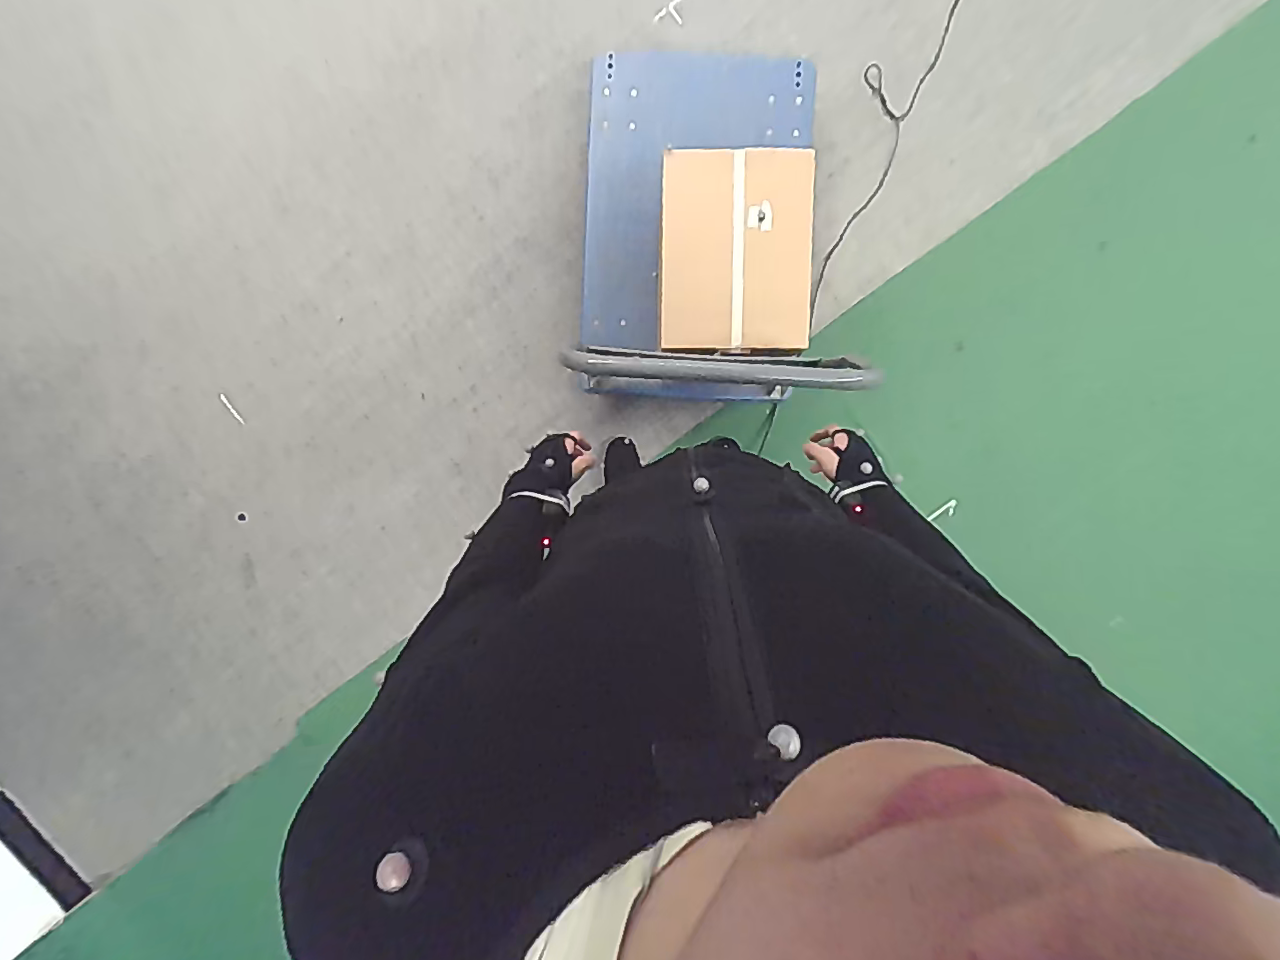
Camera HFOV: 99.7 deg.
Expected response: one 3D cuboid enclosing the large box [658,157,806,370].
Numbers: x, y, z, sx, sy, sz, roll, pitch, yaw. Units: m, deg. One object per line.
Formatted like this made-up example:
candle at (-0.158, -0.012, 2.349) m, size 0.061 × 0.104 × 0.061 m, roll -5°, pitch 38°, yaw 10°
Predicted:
large box at (0.199, -0.487, 1.293) m, size 0.320 × 0.320 × 0.408 m, roll 0°, pitch 94°, yaw 0°
